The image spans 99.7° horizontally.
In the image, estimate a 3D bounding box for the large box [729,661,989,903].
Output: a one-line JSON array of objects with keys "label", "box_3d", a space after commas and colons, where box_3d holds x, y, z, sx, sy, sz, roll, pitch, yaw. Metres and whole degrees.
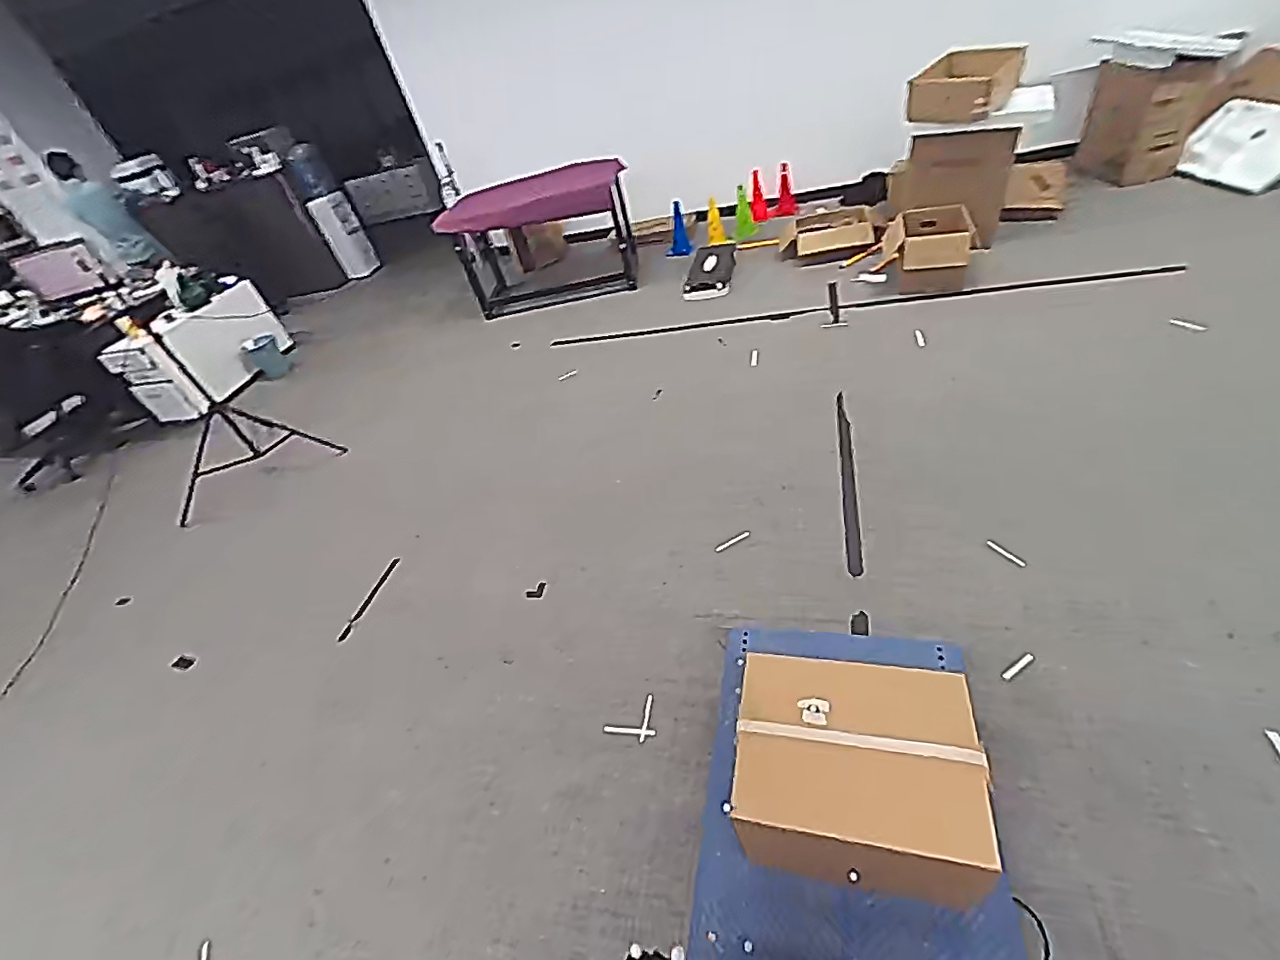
[{"label": "large box", "box_3d": [0.412, 0.591, 1.078, 0.408, 0.320, 0.320, -2, 42, 19]}]
